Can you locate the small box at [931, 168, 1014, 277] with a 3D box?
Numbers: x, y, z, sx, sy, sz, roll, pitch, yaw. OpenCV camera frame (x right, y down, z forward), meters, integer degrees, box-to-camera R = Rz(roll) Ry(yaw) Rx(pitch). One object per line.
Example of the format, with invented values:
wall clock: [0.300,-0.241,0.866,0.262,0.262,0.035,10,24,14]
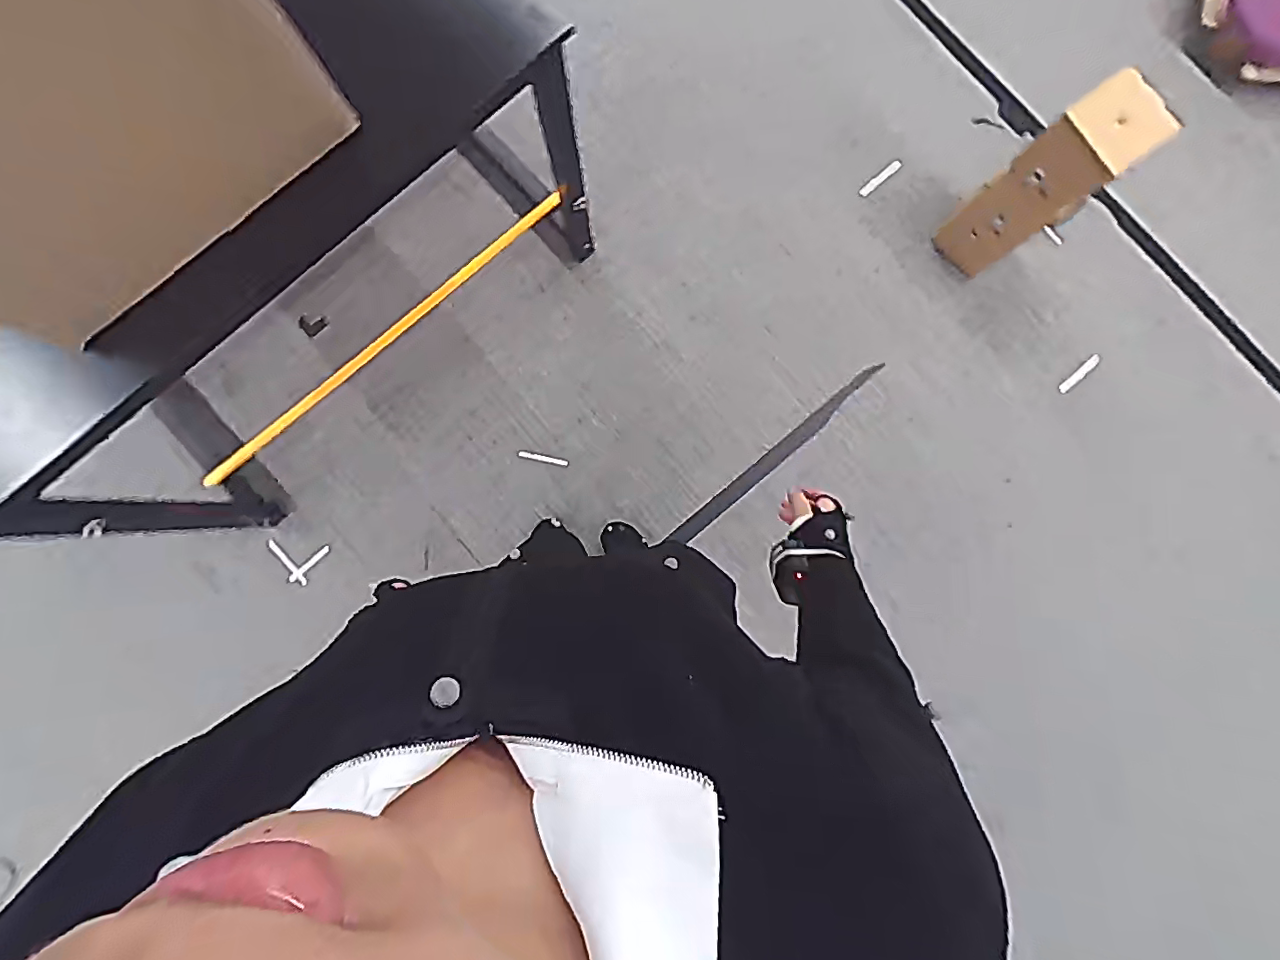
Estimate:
small box: [0.947,-0.694,1.481,0.179,0.176,0.168,45,87,1]

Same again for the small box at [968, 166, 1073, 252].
small box: [0.954,-0.700,1.317,0.179,0.176,0.168,-41,88,-3]

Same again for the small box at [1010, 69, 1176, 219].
small box: [0.951,-0.705,1.154,0.179,0.176,0.168,-36,87,-2]
